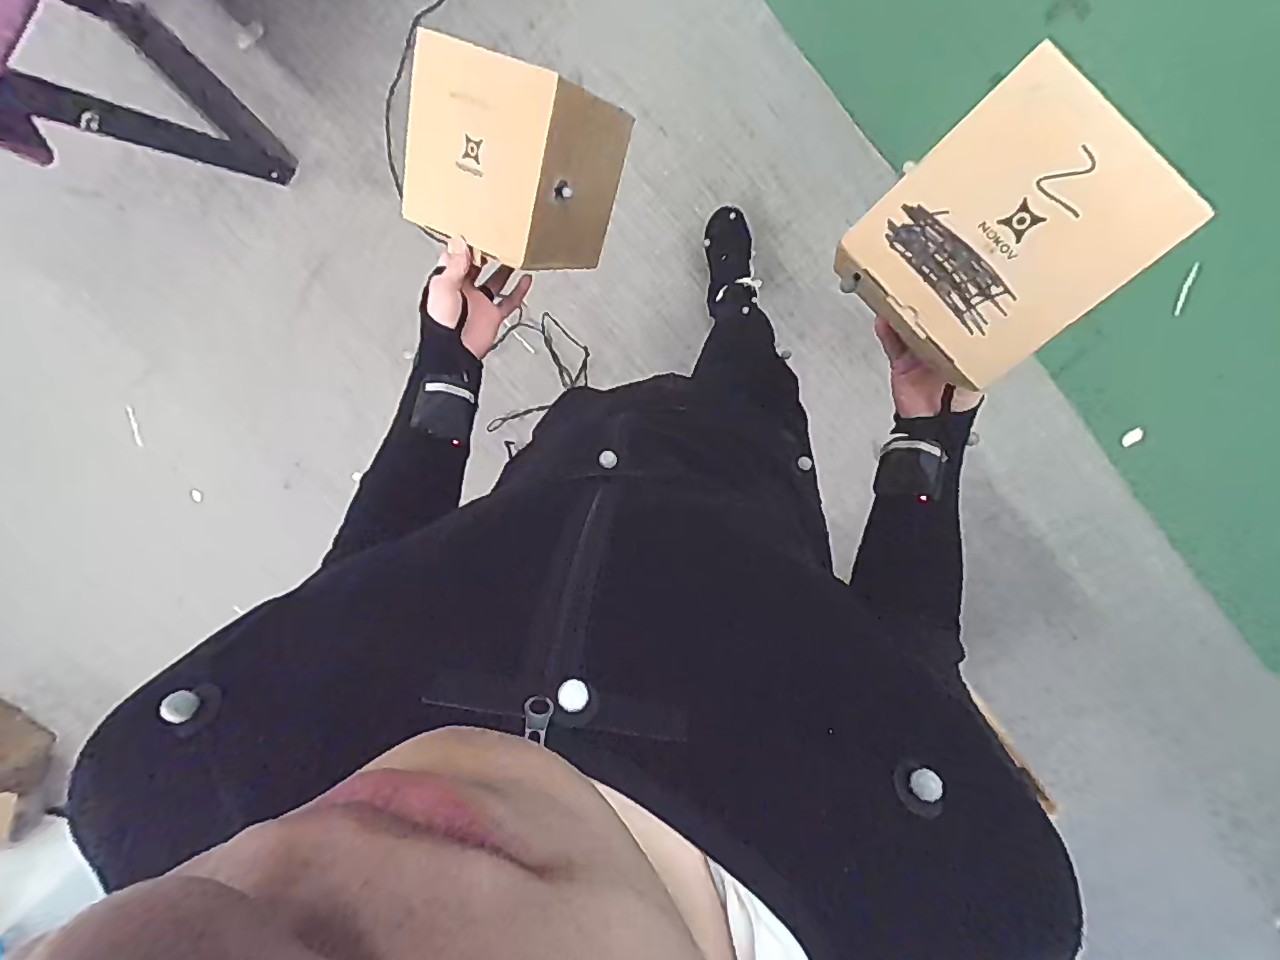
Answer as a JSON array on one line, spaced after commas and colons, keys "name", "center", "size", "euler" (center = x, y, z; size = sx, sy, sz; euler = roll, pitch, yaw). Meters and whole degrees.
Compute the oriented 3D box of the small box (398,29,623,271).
[{"name": "small box", "center": [-0.139, -0.349, 0.604], "size": [0.168, 0.176, 0.179], "euler": [27, 119, 13]}]
